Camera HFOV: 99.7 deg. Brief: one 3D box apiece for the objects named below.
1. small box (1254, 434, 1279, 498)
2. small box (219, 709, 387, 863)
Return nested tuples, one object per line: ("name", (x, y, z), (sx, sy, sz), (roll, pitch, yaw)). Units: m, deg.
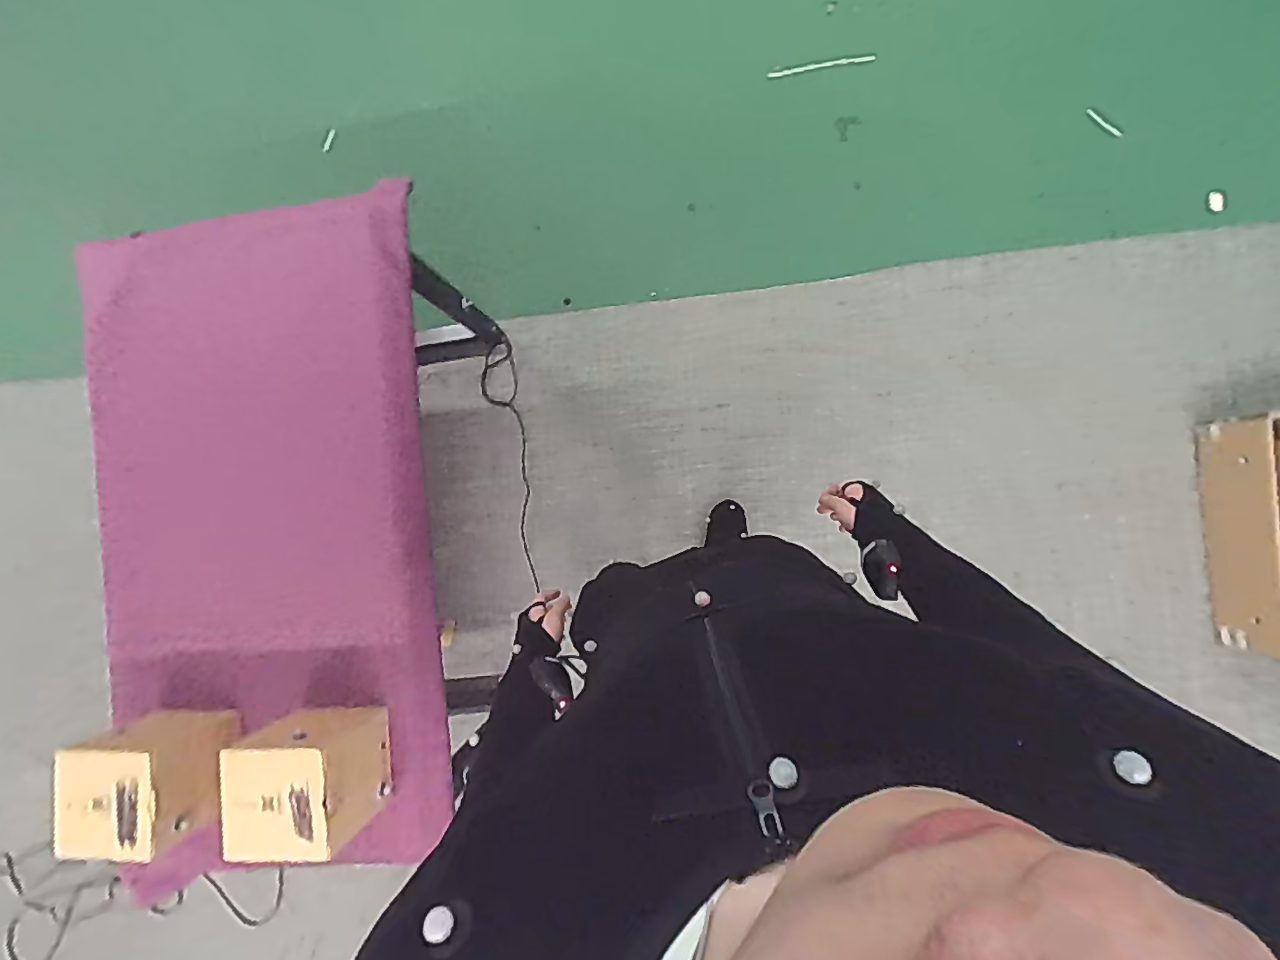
("small box", (1.707, -0.040, 1.344), (0.179, 0.176, 0.168), (-2, 88, 5))
("small box", (-0.535, 0.488, 0.883), (0.179, 0.176, 0.168), (-5, 88, 7))
